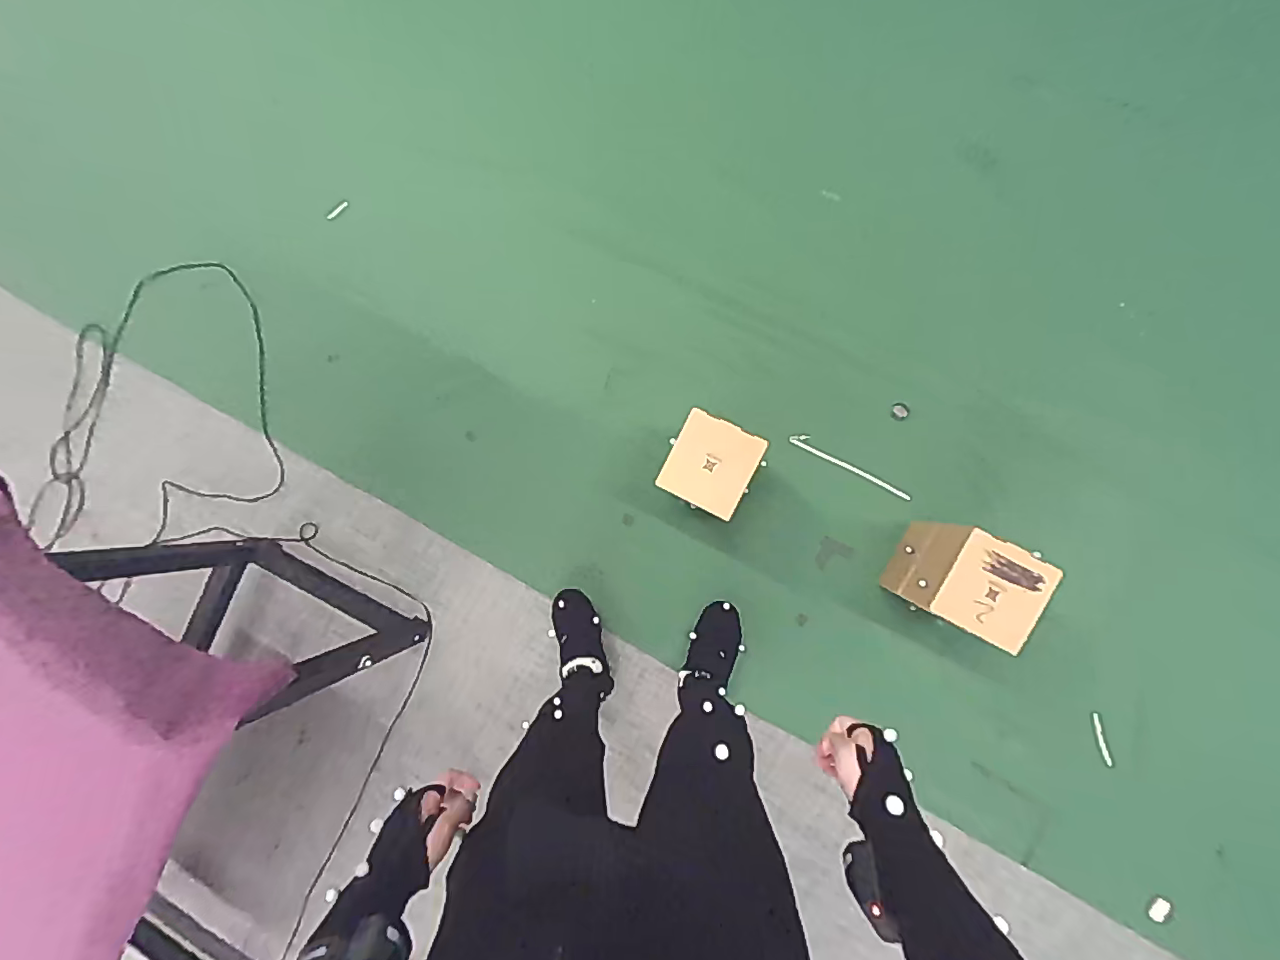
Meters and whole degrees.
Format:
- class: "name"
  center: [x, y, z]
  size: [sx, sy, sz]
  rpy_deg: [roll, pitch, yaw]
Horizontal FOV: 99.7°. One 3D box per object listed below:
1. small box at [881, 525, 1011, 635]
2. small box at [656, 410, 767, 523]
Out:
- class: "small box"
  center: [0.668, 0.212, 1.205]
  size: [0.168, 0.176, 0.179]
  rpy_deg: [29, 92, 9]
- class: "small box"
  center: [0.153, -0.022, 1.137]
  size: [0.168, 0.176, 0.179]
  rpy_deg: [27, 91, 10]
